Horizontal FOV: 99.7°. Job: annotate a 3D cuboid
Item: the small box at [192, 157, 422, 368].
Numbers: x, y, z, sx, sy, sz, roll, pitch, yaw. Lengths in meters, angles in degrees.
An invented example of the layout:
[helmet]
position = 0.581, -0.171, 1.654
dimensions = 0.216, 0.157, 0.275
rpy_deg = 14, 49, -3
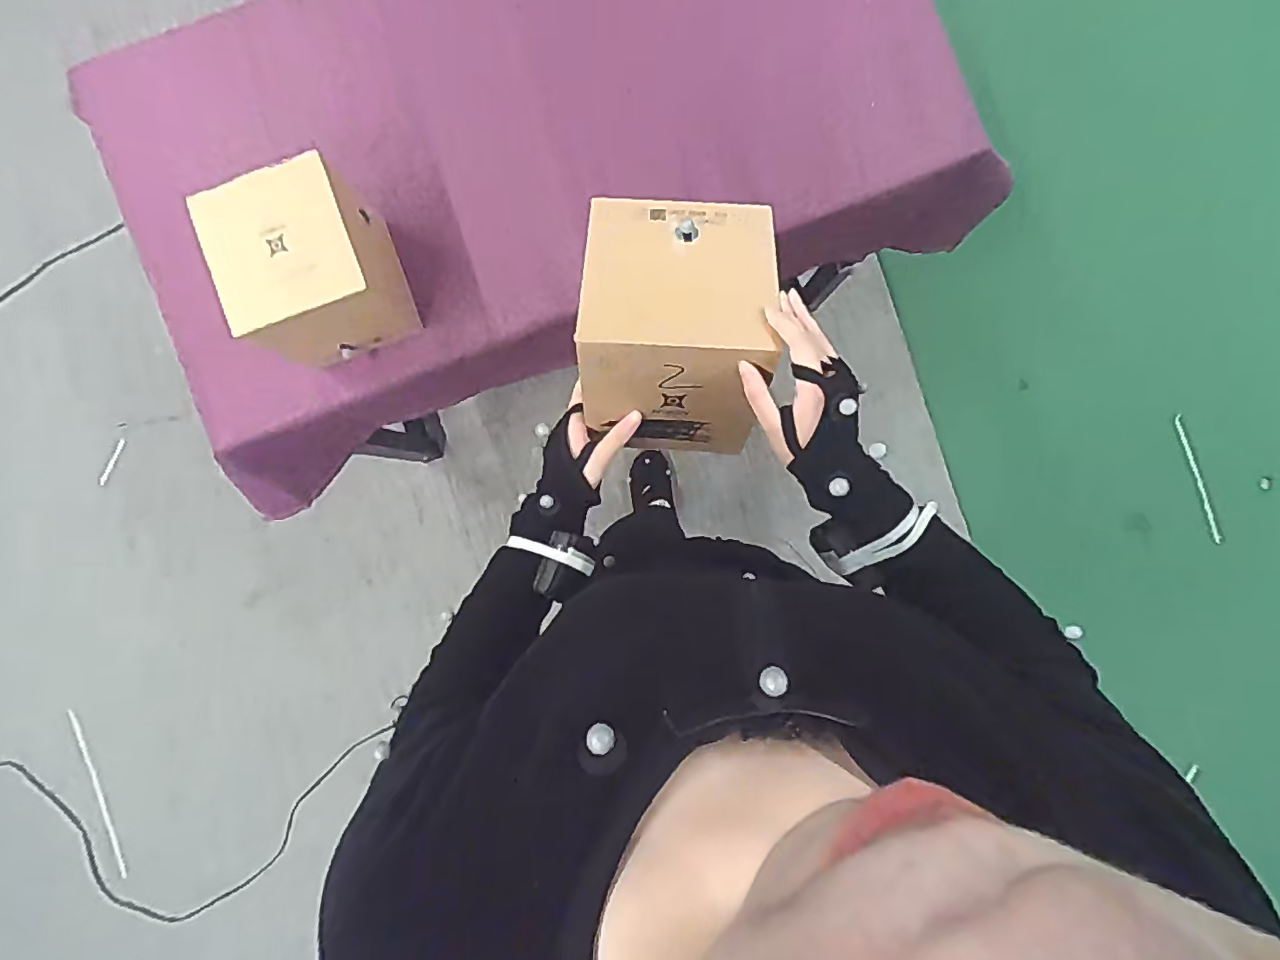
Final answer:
[small box]
position = -0.417, -0.268, 0.706
dimensions = 0.168, 0.176, 0.179
rpy_deg = -20, 89, 1
